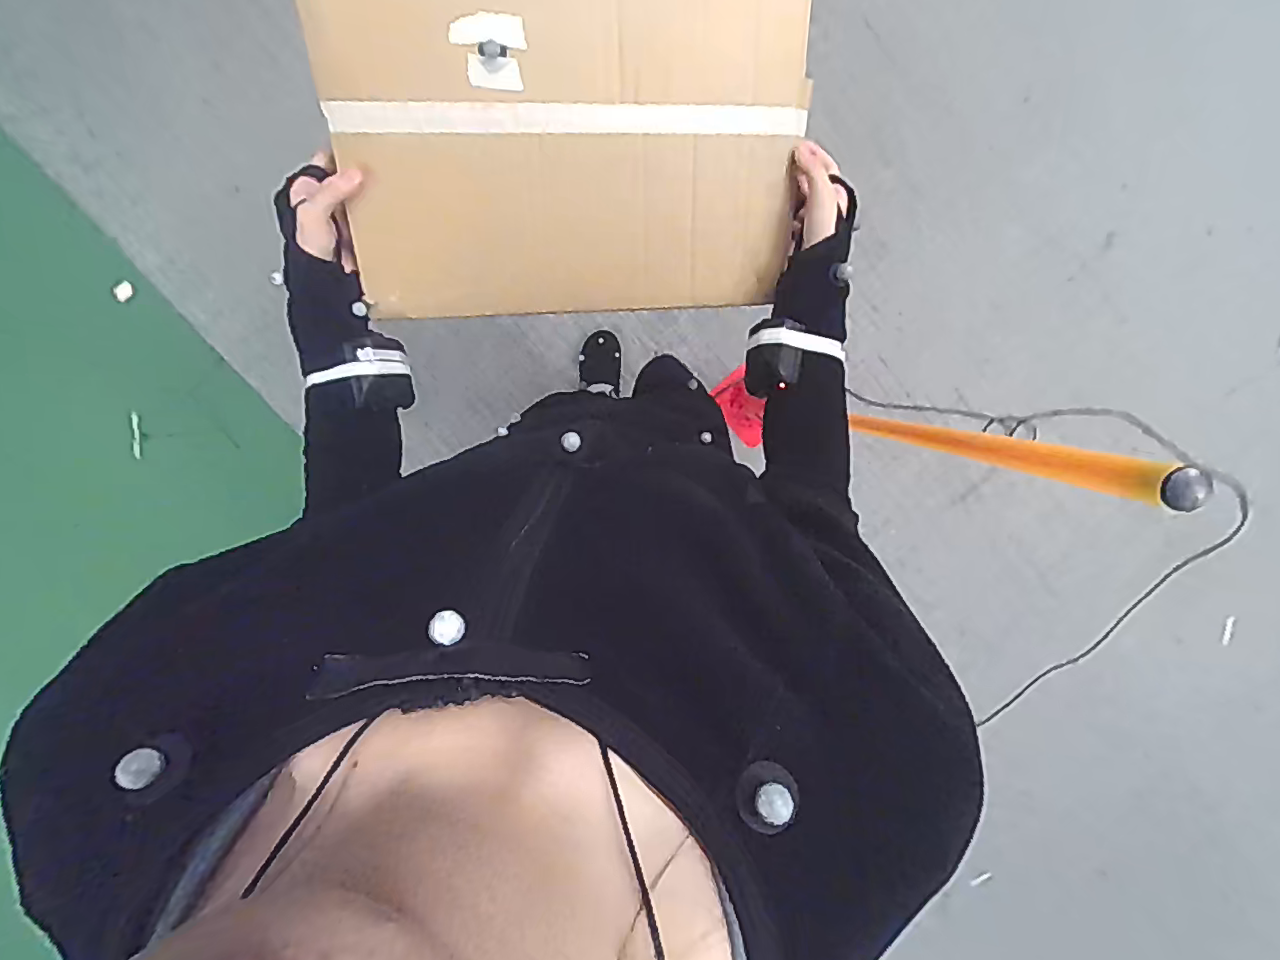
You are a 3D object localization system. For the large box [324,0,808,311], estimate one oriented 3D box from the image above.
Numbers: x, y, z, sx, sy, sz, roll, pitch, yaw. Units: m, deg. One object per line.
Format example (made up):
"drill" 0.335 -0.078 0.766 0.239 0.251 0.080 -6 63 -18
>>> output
"large box" -0.072 -0.378 0.610 0.408 0.320 0.320 -4 115 -9
